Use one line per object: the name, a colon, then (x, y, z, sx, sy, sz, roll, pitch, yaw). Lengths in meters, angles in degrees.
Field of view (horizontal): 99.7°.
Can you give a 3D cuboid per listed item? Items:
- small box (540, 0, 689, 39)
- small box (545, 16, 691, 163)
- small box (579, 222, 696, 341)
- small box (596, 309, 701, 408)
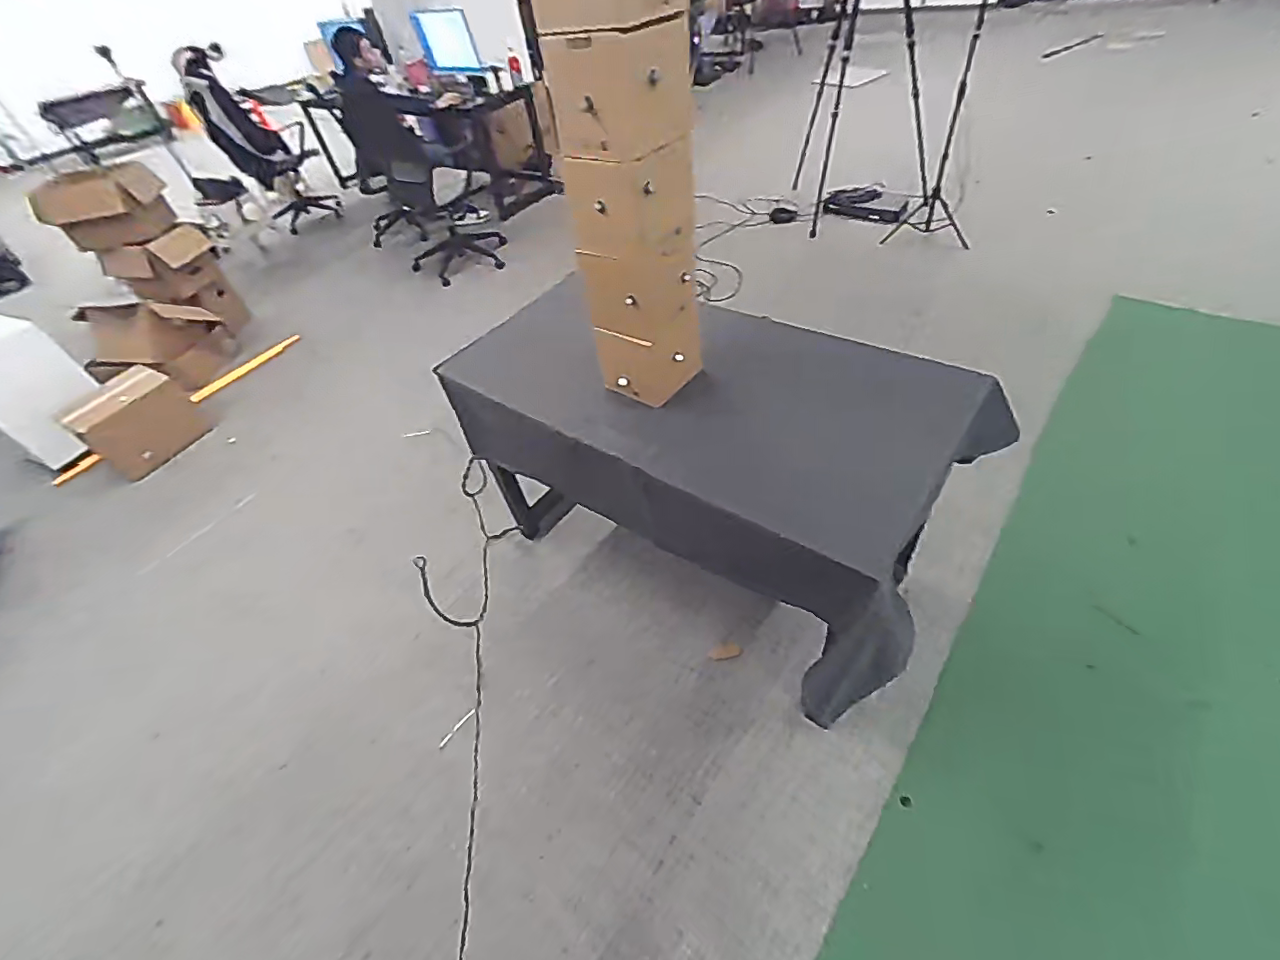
small box: (-0.046, -0.765, 0.790, 0.179, 0.176, 0.168, 26, 54, 31)
small box: (-0.026, -0.652, 0.910, 0.168, 0.176, 0.179, 25, 55, 30)
small box: (0.004, -0.412, 1.130, 0.179, 0.176, 0.168, 24, 54, 30)
small box: (0.026, -0.296, 1.242, 0.168, 0.176, 0.179, 26, 57, 31)
